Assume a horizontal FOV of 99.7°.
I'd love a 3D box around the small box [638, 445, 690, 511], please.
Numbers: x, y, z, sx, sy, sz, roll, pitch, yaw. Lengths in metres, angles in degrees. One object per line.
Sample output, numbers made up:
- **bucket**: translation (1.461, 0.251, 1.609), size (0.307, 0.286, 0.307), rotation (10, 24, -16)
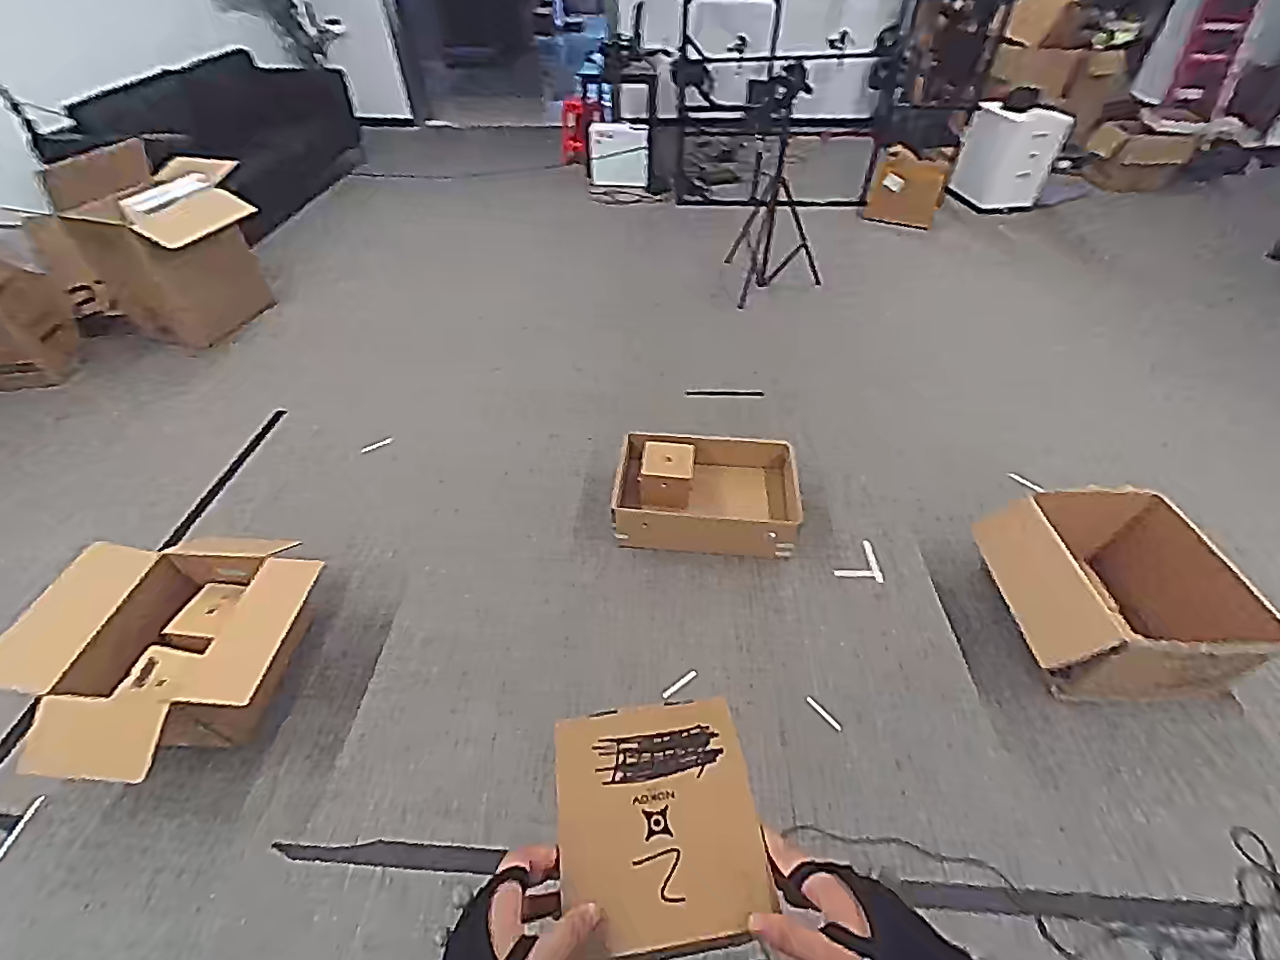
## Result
- **small box**: translation (0.086, -0.005, 1.952), size (0.179, 0.176, 0.168), rotation (5, 48, 3)
